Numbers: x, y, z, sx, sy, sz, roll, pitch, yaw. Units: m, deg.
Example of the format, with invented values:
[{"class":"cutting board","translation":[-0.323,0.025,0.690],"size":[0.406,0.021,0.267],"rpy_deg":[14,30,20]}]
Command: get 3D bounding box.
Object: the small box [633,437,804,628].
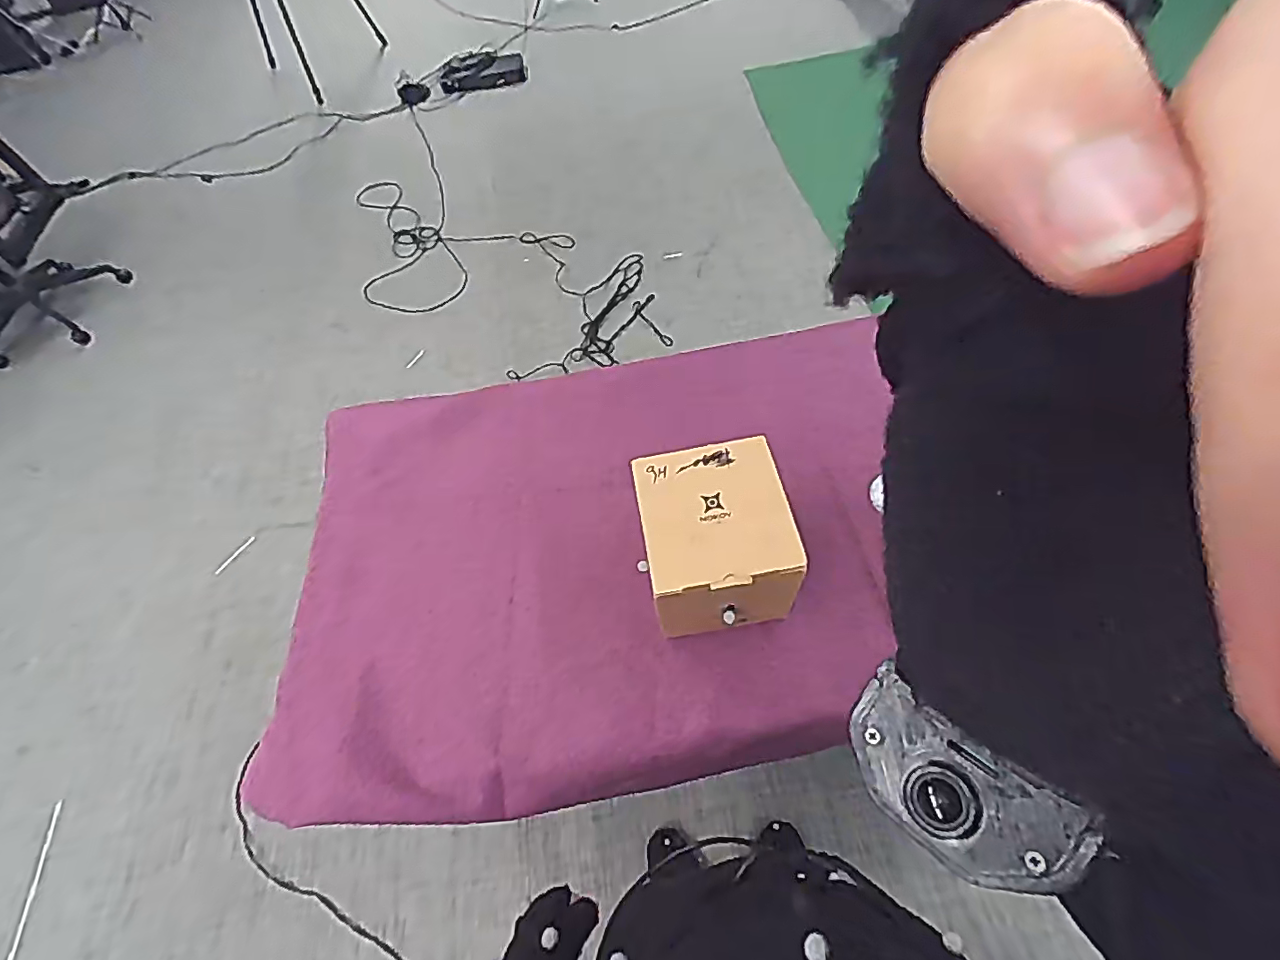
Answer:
[{"class":"small box","translation":[0.091,0.075,0.674],"size":[0.168,0.176,0.179],"rpy_deg":[-10,59,1]}]
